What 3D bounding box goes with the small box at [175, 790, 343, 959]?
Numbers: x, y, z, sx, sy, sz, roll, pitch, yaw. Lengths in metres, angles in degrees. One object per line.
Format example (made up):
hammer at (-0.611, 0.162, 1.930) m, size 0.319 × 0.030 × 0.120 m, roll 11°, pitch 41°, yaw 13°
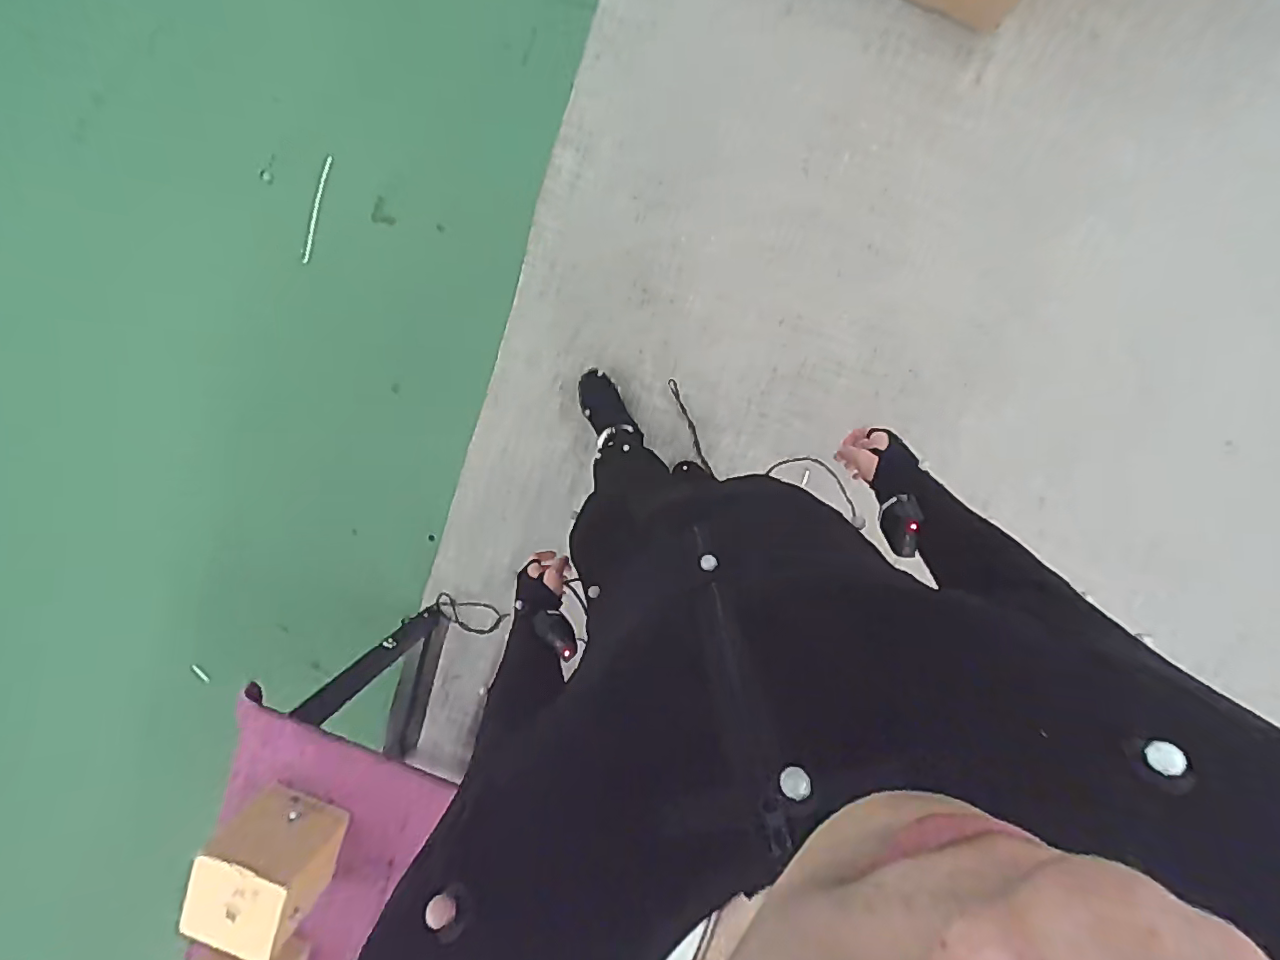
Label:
small box at (-0.669, 0.708, 0.968) m, size 0.168 × 0.176 × 0.179 m, roll 21°, pitch 100°, yaw 1°
